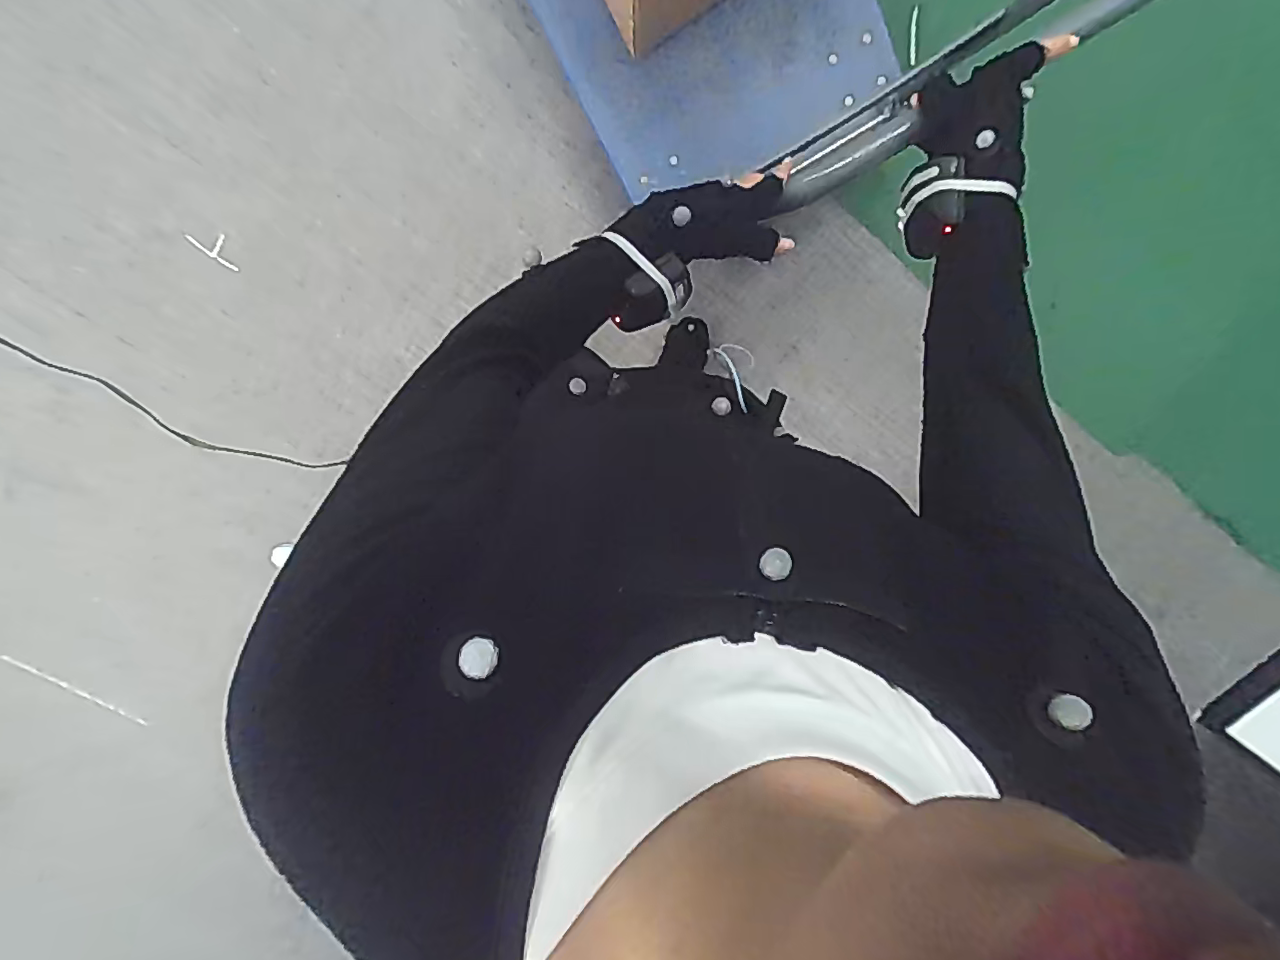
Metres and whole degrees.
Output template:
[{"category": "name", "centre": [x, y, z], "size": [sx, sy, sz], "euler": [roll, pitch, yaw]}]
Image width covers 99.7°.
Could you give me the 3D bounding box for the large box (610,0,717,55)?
[{"category": "large box", "centre": [0.089, -0.990, 0.836], "size": [0.408, 0.320, 0.320], "euler": [-31, 106, 10]}]
